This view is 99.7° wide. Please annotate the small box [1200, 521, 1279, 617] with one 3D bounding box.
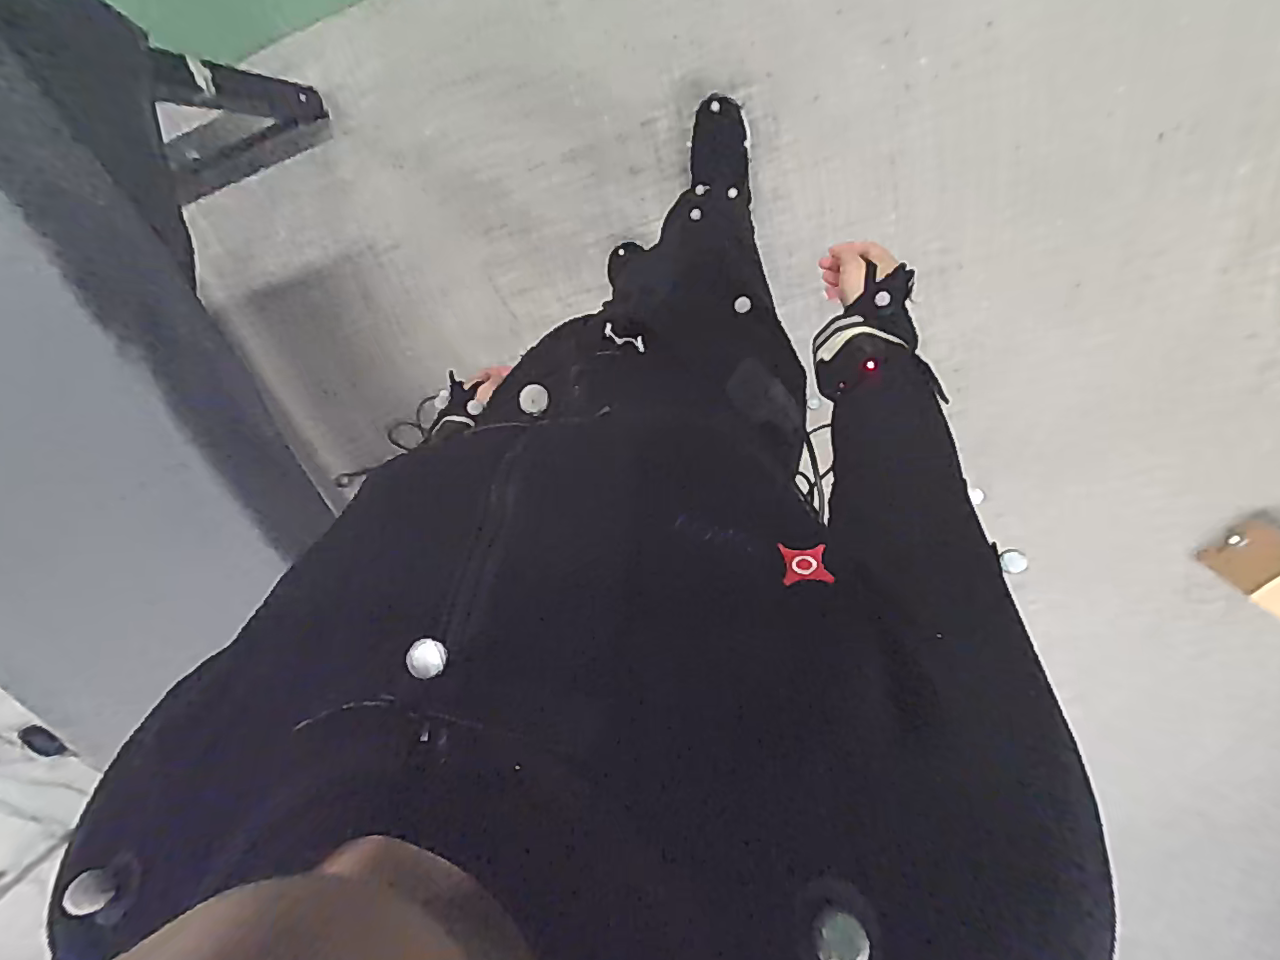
[{"bbox_3d":[1.607,0.232,1.362,0.179,0.176,0.168,27,116,-10],"label":"small box"}]
